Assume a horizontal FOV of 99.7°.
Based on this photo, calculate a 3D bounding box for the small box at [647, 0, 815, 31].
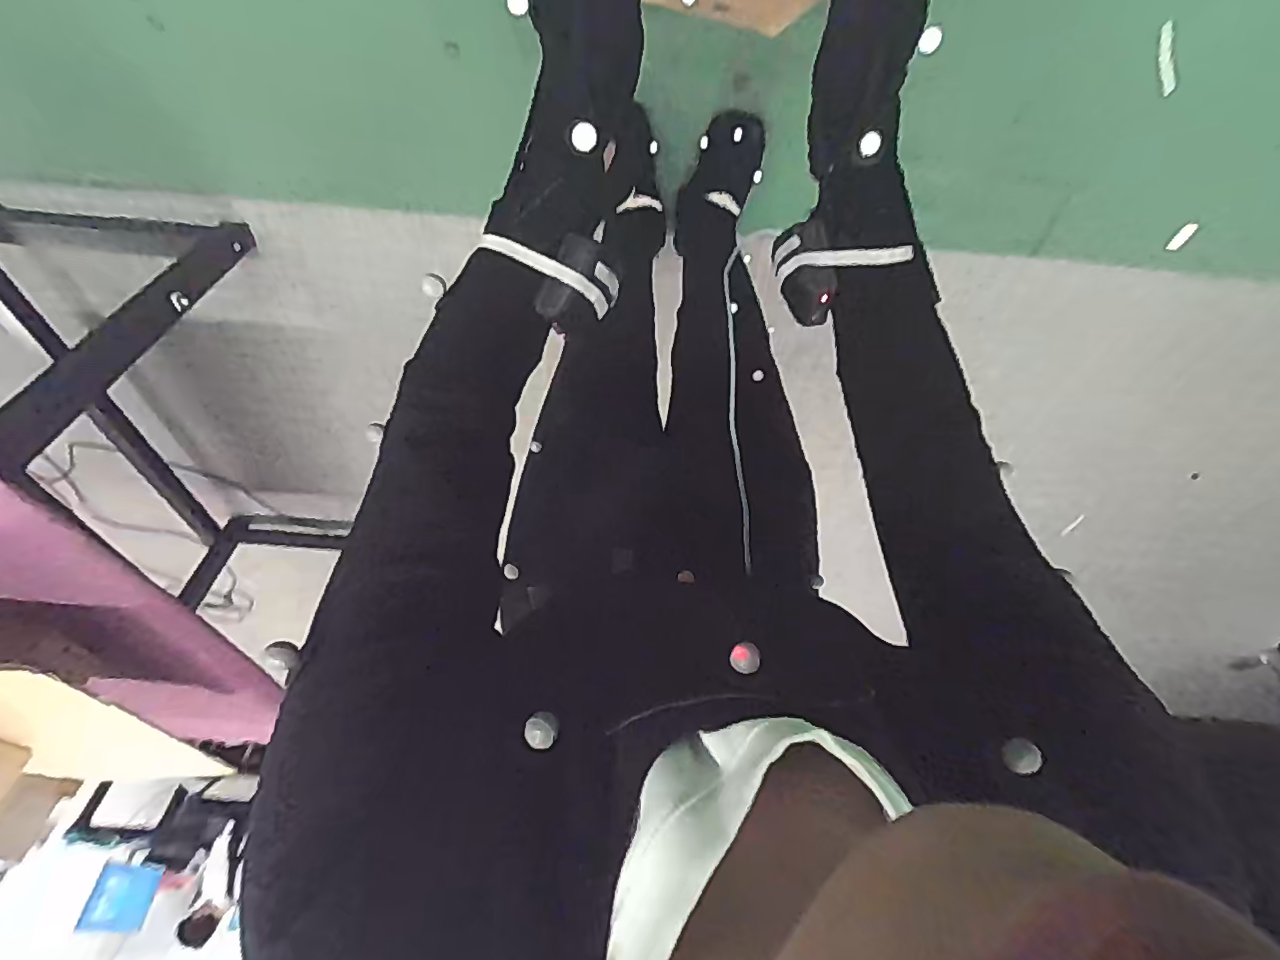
[{"bbox_3d":[0.067,-0.439,0.352,0.168,0.176,0.179,3,116,-14],"label":"small box"}]
